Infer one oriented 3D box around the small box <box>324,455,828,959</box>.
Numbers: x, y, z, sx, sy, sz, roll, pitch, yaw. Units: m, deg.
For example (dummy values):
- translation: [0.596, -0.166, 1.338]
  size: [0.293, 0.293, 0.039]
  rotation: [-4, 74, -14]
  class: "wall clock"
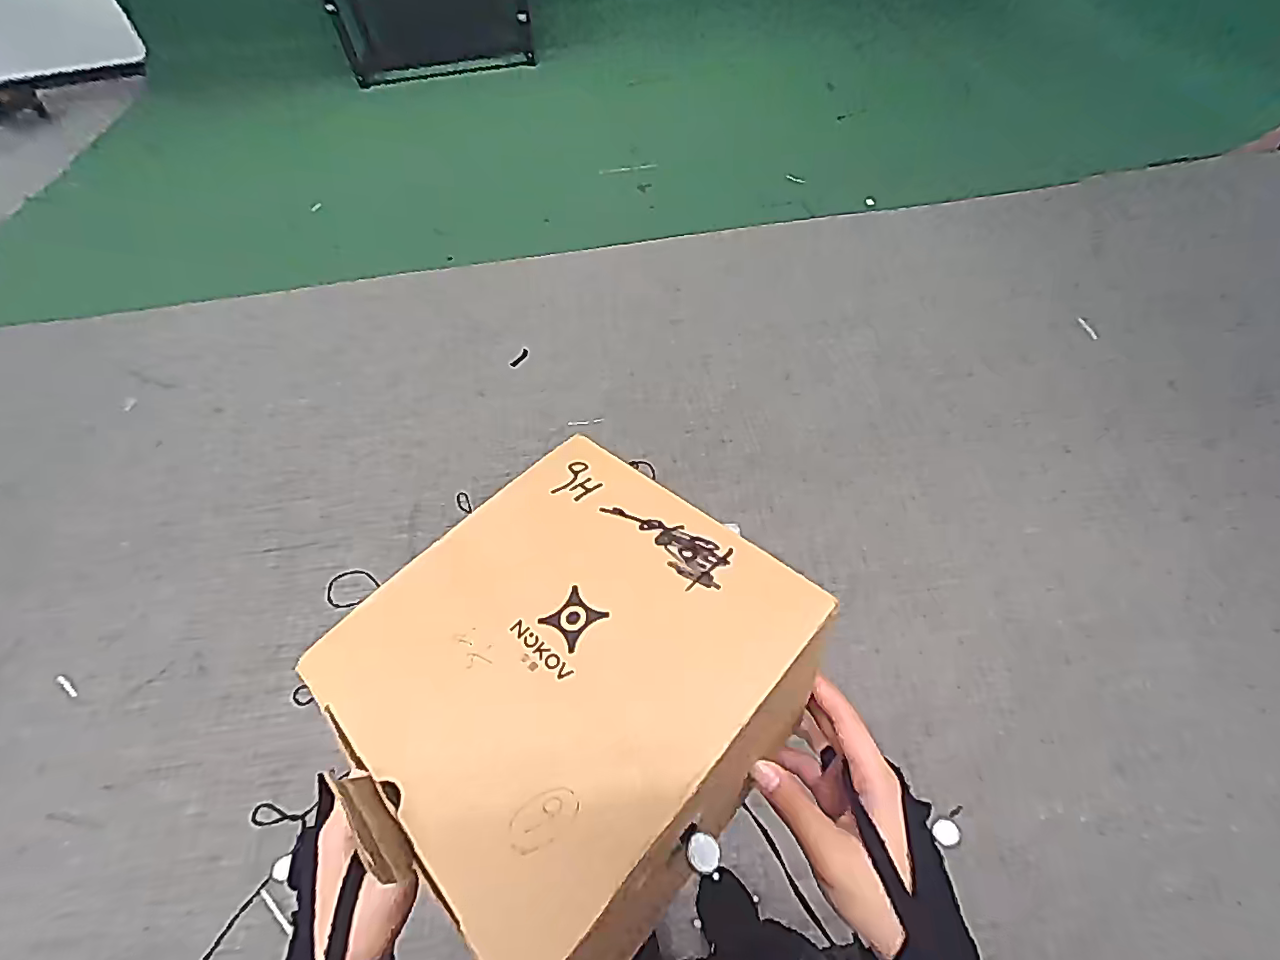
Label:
- translation: [-0.020, 0.126, 0.302]
  size: [0.168, 0.176, 0.179]
  rotation: [33, 63, 30]
  class: "small box"
